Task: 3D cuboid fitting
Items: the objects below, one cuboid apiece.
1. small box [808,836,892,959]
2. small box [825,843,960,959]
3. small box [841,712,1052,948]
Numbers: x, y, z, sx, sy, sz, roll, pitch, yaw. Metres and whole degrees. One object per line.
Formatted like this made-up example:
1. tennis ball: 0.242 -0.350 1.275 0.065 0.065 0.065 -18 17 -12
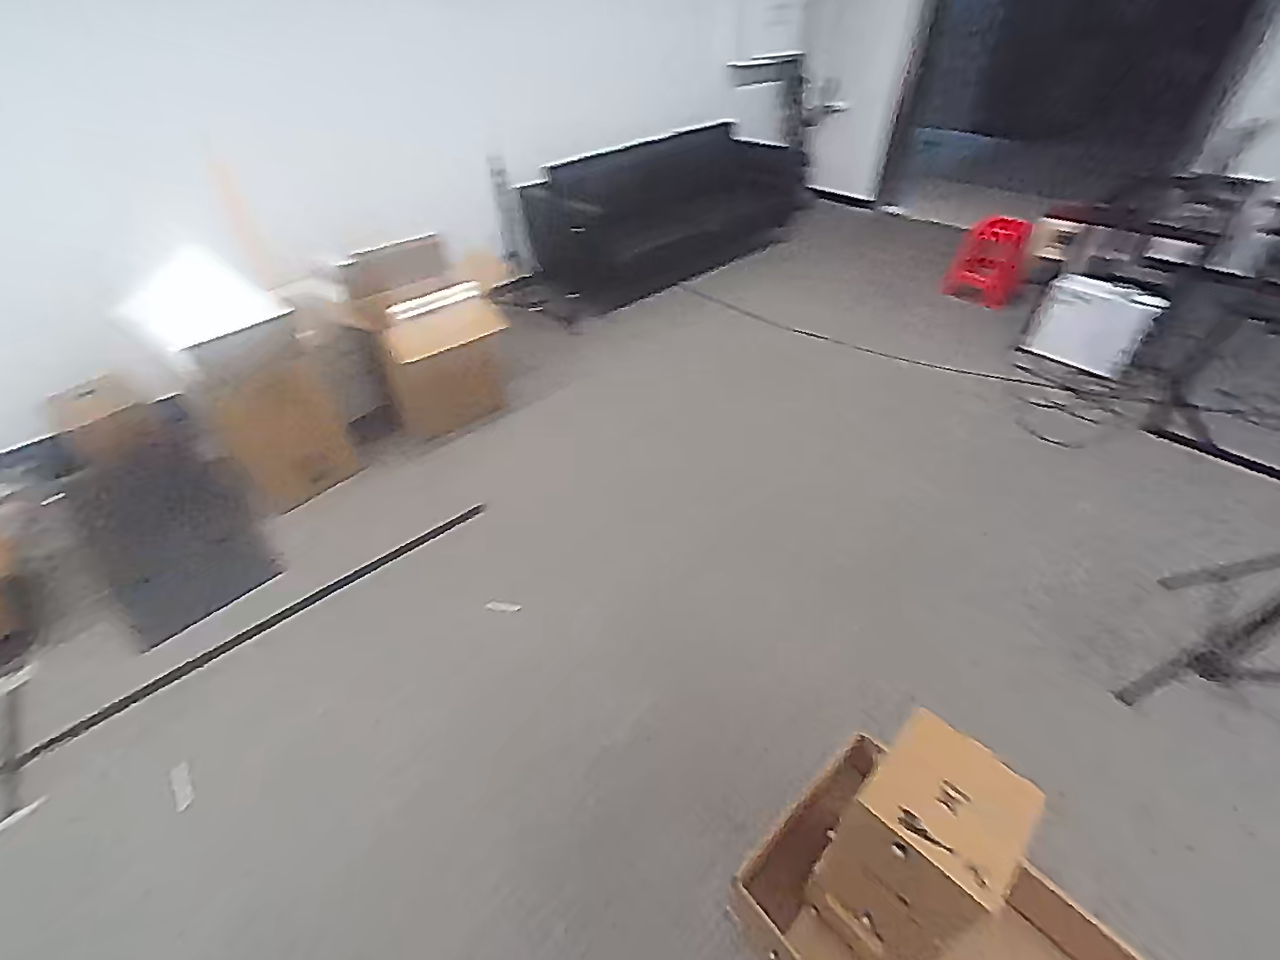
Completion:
1. small box: 0.409 0.707 0.932 0.179 0.176 0.168 -31 48 -30
2. small box: 0.403 0.588 0.819 0.179 0.176 0.168 -33 48 -29
3. small box: 0.392 0.459 0.717 0.179 0.176 0.168 -32 48 -30
